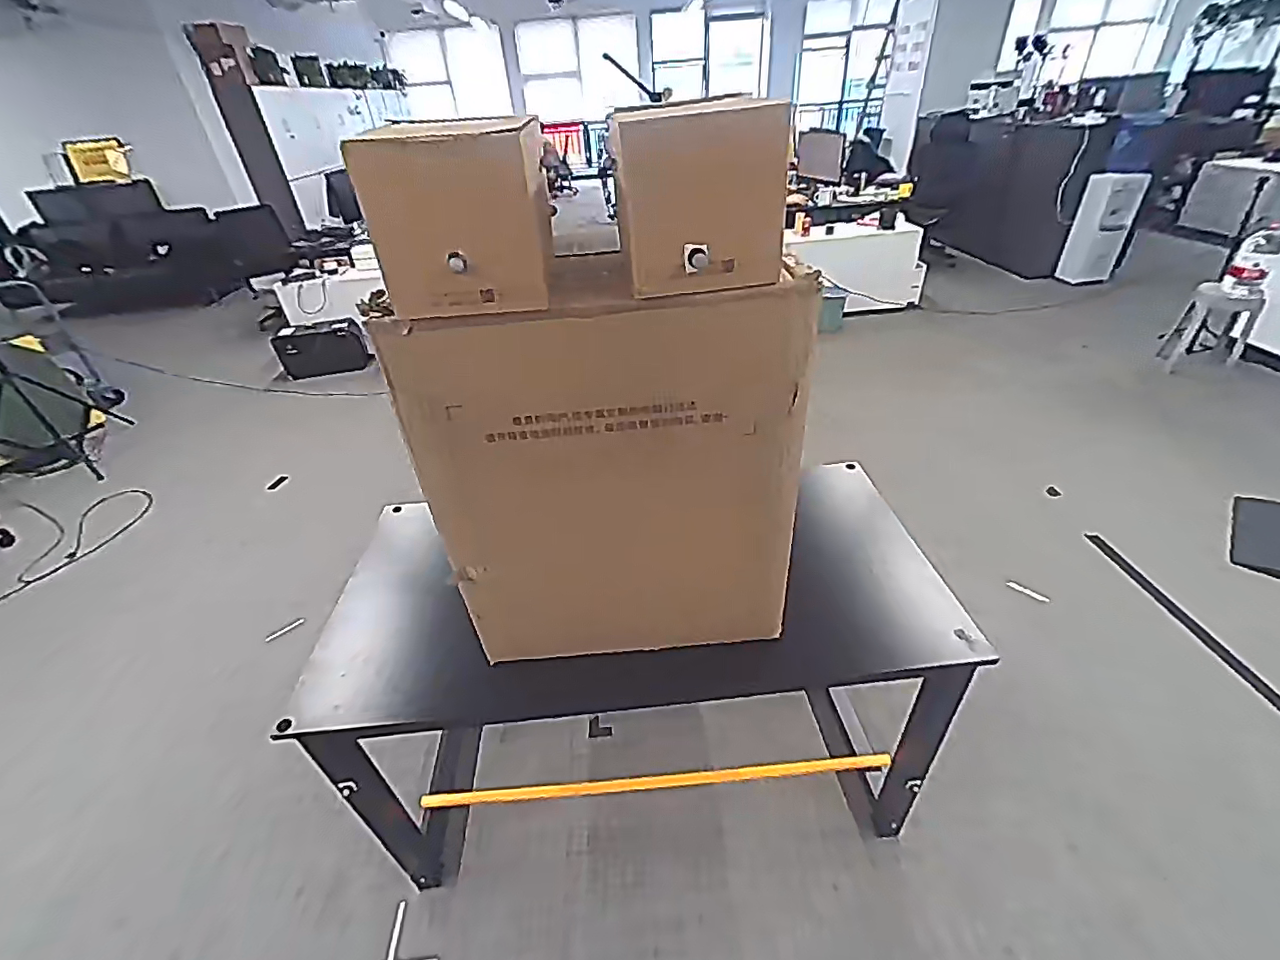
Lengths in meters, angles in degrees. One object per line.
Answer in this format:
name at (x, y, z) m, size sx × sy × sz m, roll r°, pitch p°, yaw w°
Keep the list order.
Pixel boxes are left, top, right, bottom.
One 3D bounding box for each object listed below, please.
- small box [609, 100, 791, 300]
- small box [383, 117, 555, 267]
small box at (0.059, -0.318, 0.613) m, size 0.168 × 0.176 × 0.179 m, roll -9°, pitch 37°, yaw -2°
small box at (-0.226, -0.406, 0.765) m, size 0.179 × 0.176 × 0.168 m, roll -4°, pitch 35°, yaw -1°
